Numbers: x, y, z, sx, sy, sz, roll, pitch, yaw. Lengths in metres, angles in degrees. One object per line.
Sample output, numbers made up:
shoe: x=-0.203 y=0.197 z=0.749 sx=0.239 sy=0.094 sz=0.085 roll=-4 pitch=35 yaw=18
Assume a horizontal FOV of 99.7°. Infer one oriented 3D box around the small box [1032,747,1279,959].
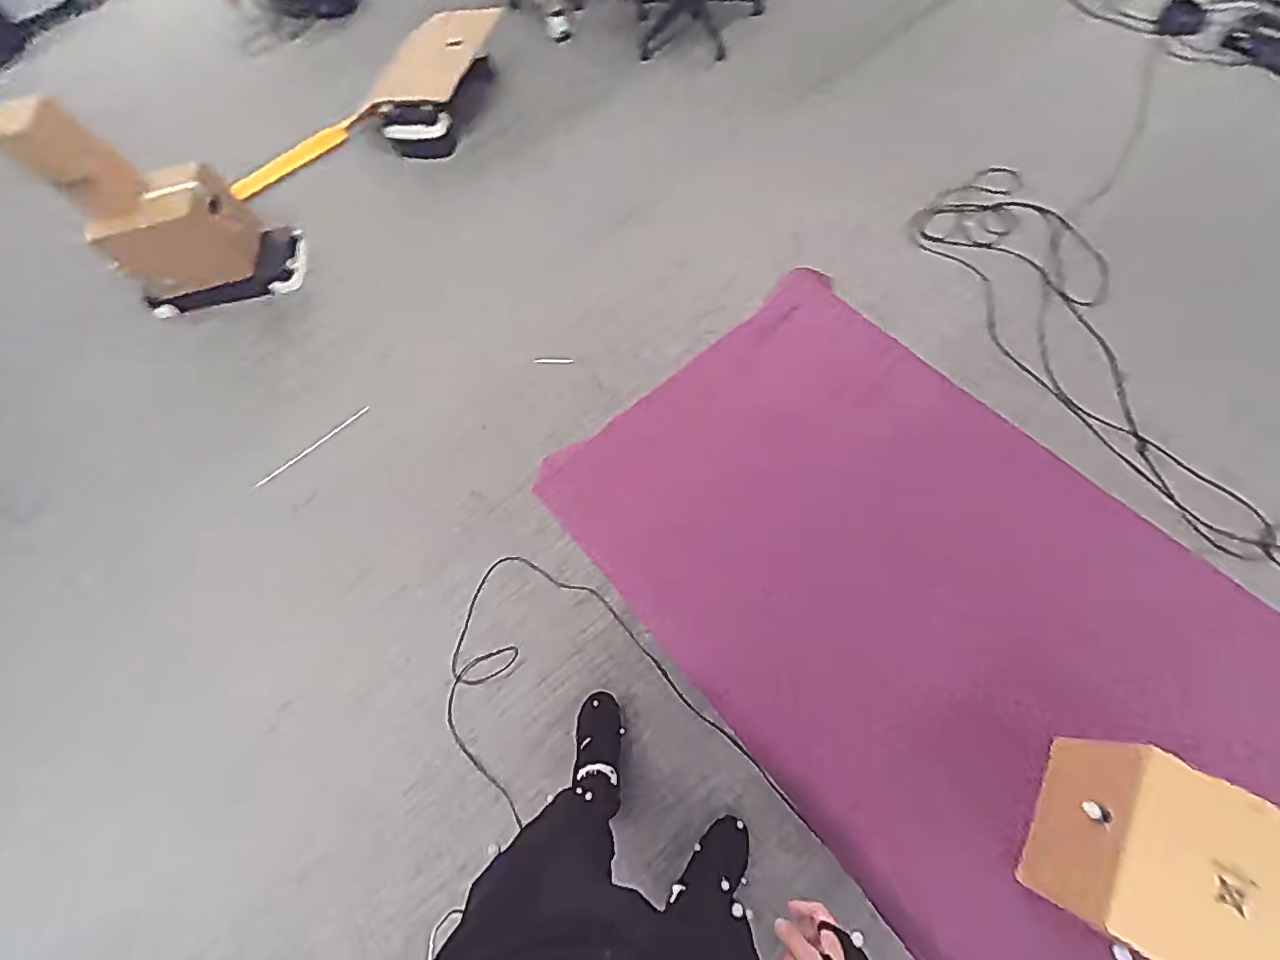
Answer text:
small box: x=0.534 y=0.395 z=0.540 sx=0.168 sy=0.176 sz=0.179 roll=26 pitch=73 yaw=19
